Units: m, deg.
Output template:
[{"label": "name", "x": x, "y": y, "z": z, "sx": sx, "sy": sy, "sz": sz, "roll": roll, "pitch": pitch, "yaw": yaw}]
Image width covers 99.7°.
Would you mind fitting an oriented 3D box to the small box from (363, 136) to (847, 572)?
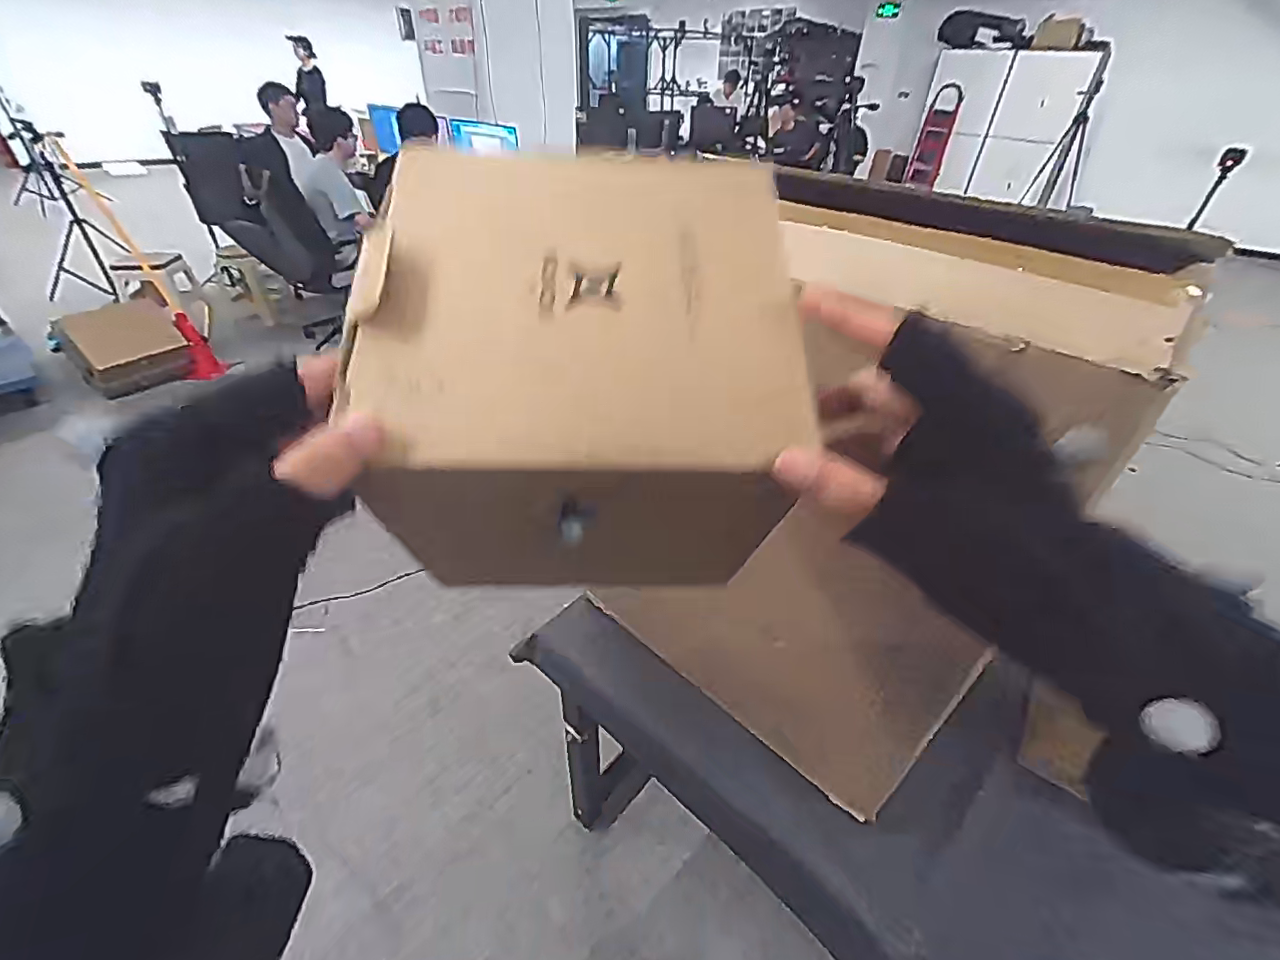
[{"label": "small box", "x": -0.016, "y": -0.051, "z": 0.297, "sx": 0.179, "sy": 0.176, "sz": 0.168, "roll": 1, "pitch": 65, "yaw": -5}]
